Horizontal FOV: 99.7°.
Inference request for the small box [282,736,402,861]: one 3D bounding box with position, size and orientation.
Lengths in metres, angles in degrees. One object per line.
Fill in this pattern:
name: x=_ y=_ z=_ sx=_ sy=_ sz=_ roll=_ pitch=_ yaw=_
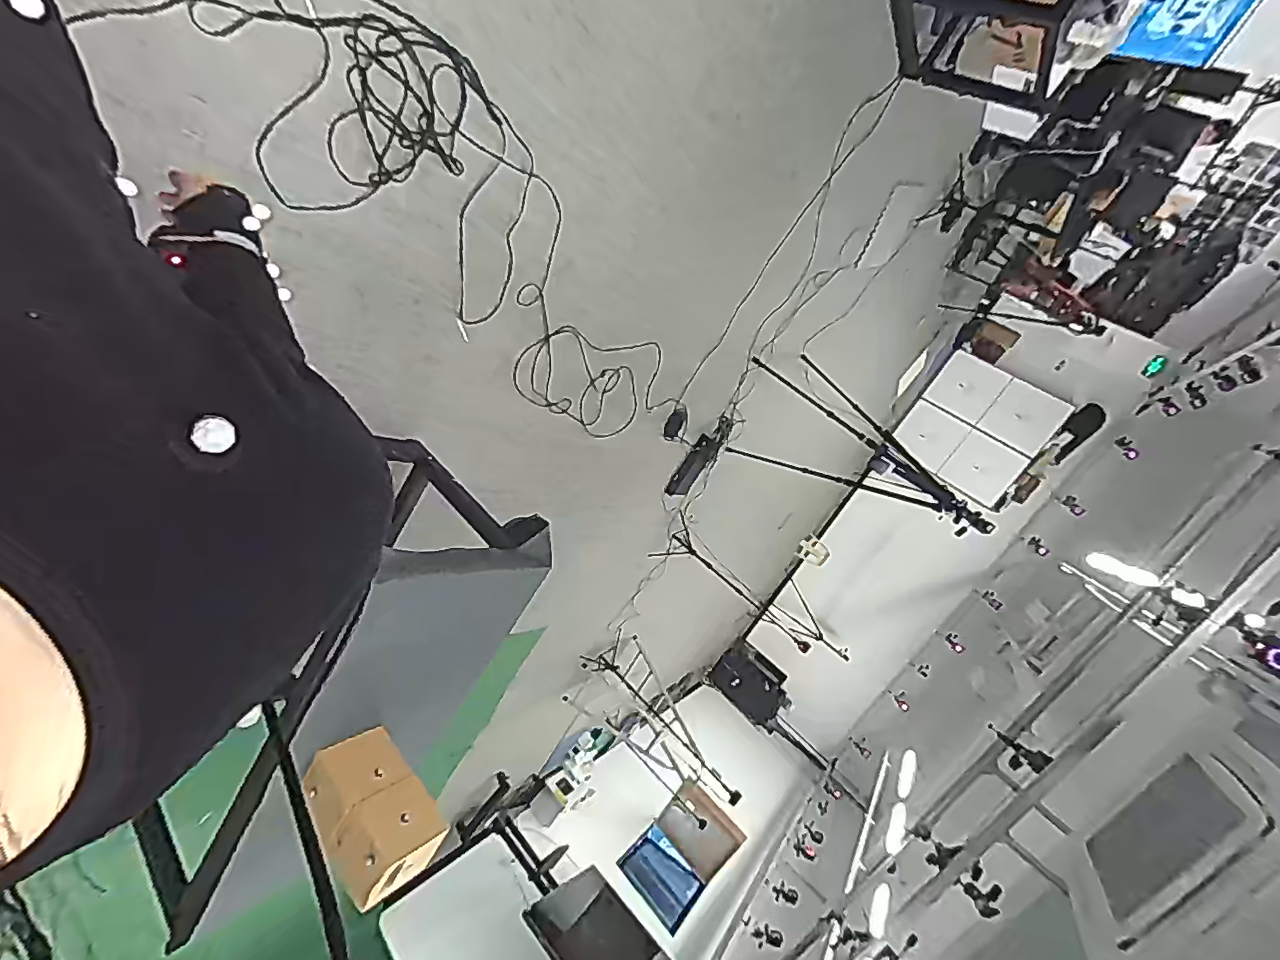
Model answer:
small box: x=-0.739 y=0.776 z=1.342 sx=0.168 sy=0.176 sz=0.179 roll=-59 pitch=154 yaw=15
